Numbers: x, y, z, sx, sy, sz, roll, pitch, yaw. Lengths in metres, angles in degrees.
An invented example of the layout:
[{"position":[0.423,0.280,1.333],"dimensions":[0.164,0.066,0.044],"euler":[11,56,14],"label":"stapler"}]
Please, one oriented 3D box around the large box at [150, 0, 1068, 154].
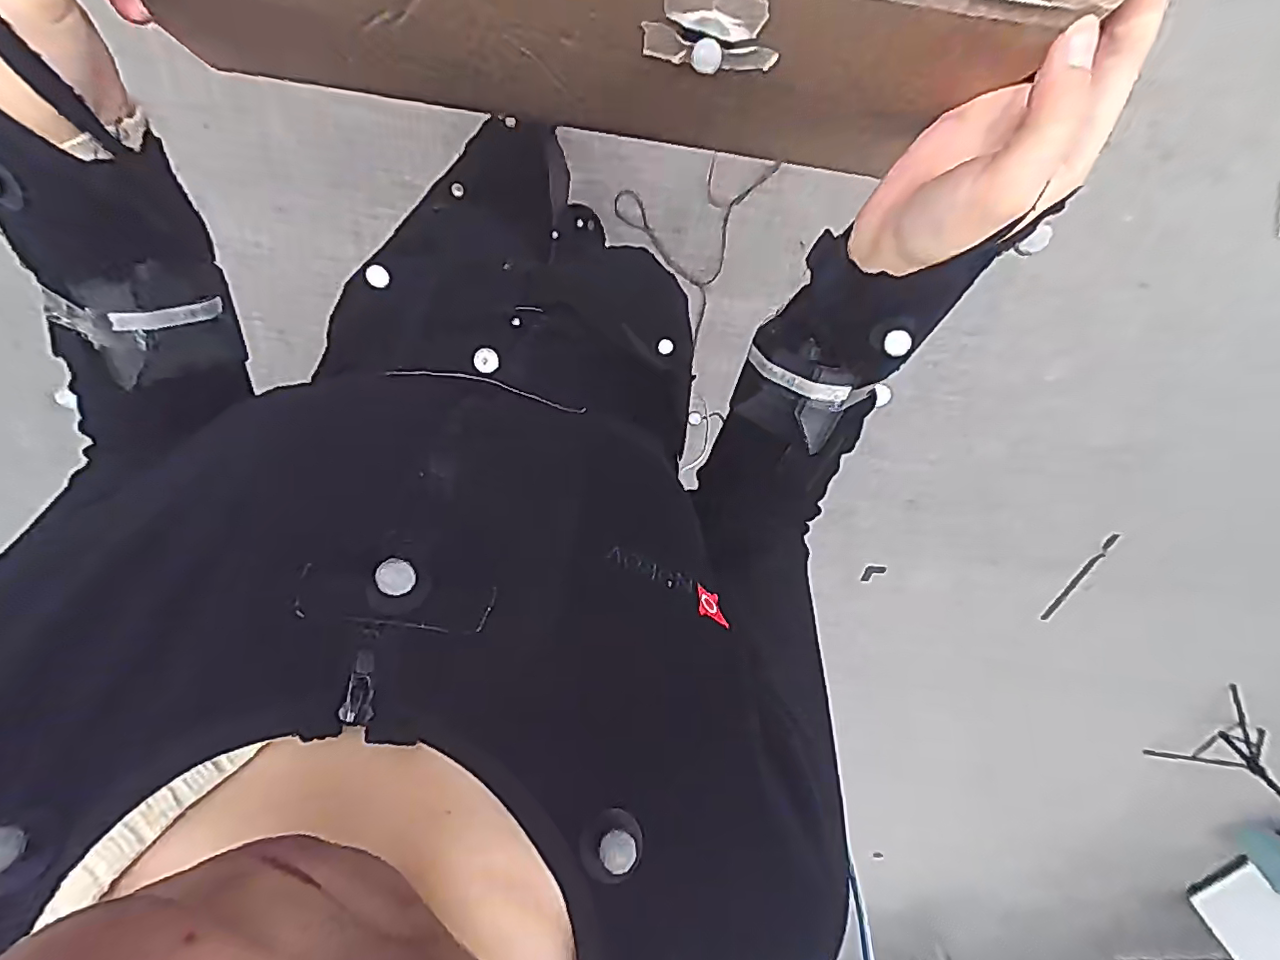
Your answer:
[{"position":[-0.020,-0.347,0.154],"dimensions":[0.408,0.320,0.320],"euler":[6,100,-4],"label":"large box"}]
